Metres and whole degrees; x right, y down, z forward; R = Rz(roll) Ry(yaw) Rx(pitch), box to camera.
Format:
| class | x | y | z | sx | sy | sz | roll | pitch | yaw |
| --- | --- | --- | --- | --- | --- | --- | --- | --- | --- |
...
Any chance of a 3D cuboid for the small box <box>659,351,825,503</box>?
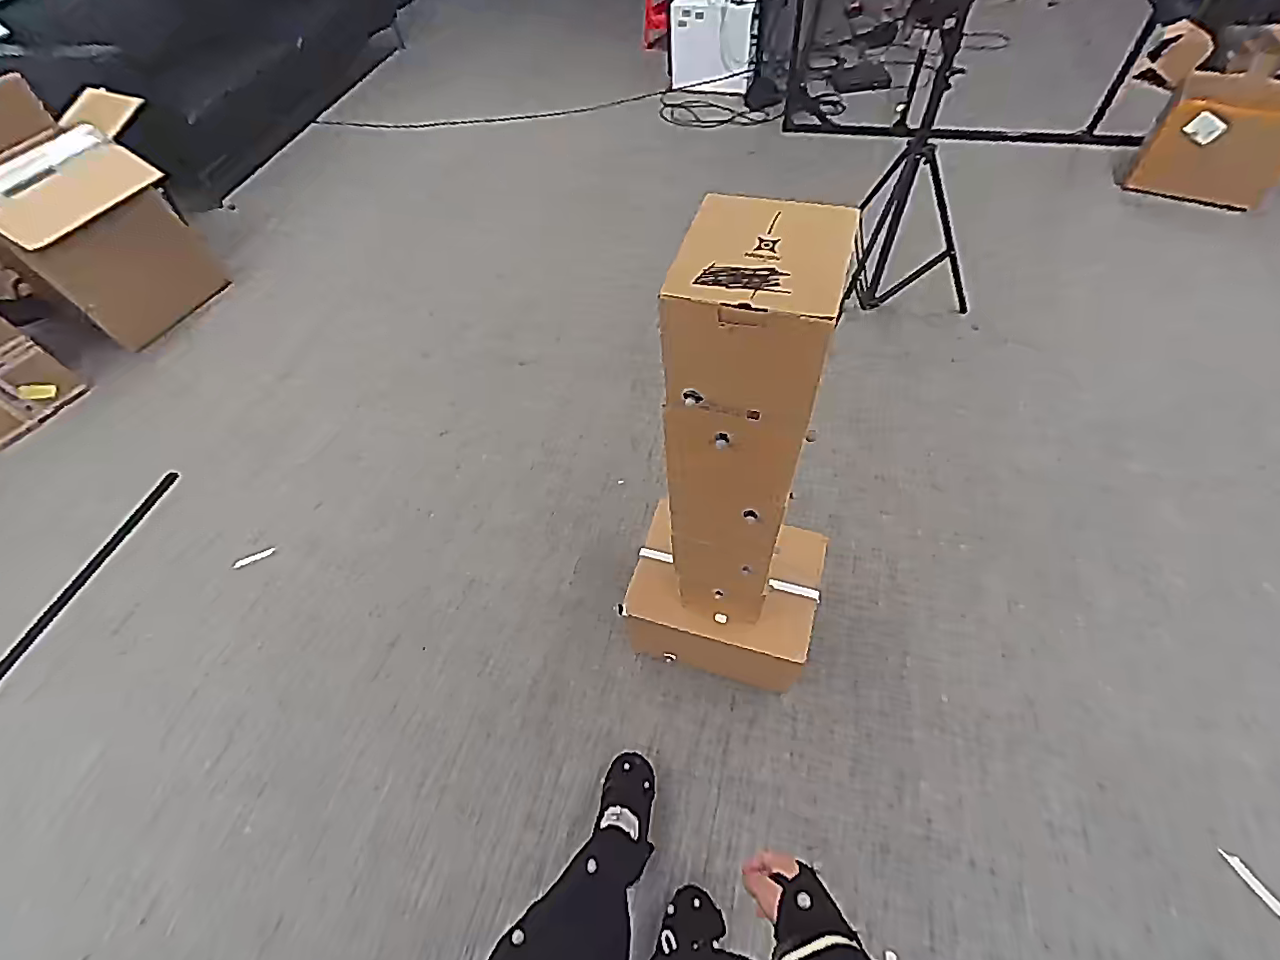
| class | x | y | z | sx | sy | sz | roll | pitch | yaw |
| --- | --- | --- | --- | --- | --- | --- | --- | --- | --- |
| small box | 0.137 | -0.087 | 0.742 | 0.179 | 0.176 | 0.168 | 14 | 60 | 15 |

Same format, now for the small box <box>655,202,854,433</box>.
| class | x | y | z | sx | sy | sz | roll | pitch | yaw |
| --- | --- | --- | --- | --- | --- | --- | --- | --- | --- |
| small box | 0.126 | -0.177 | 0.604 | 0.168 | 0.176 | 0.179 | 14 | 59 | 14 |

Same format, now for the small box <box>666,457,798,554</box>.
| class | x | y | z | sx | sy | sz | roll | pitch | yaw |
| --- | --- | --- | --- | --- | --- | --- | --- | --- | --- |
| small box | 0.151 | 0.001 | 0.876 | 0.179 | 0.176 | 0.168 | 13 | 59 | 14 |

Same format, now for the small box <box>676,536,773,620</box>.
| class | x | y | z | sx | sy | sz | roll | pitch | yaw |
| --- | --- | --- | --- | --- | --- | --- | --- | --- | --- |
| small box | 0.181 | 0.183 | 1.149 | 0.179 | 0.176 | 0.168 | 11 | 60 | 11 |
